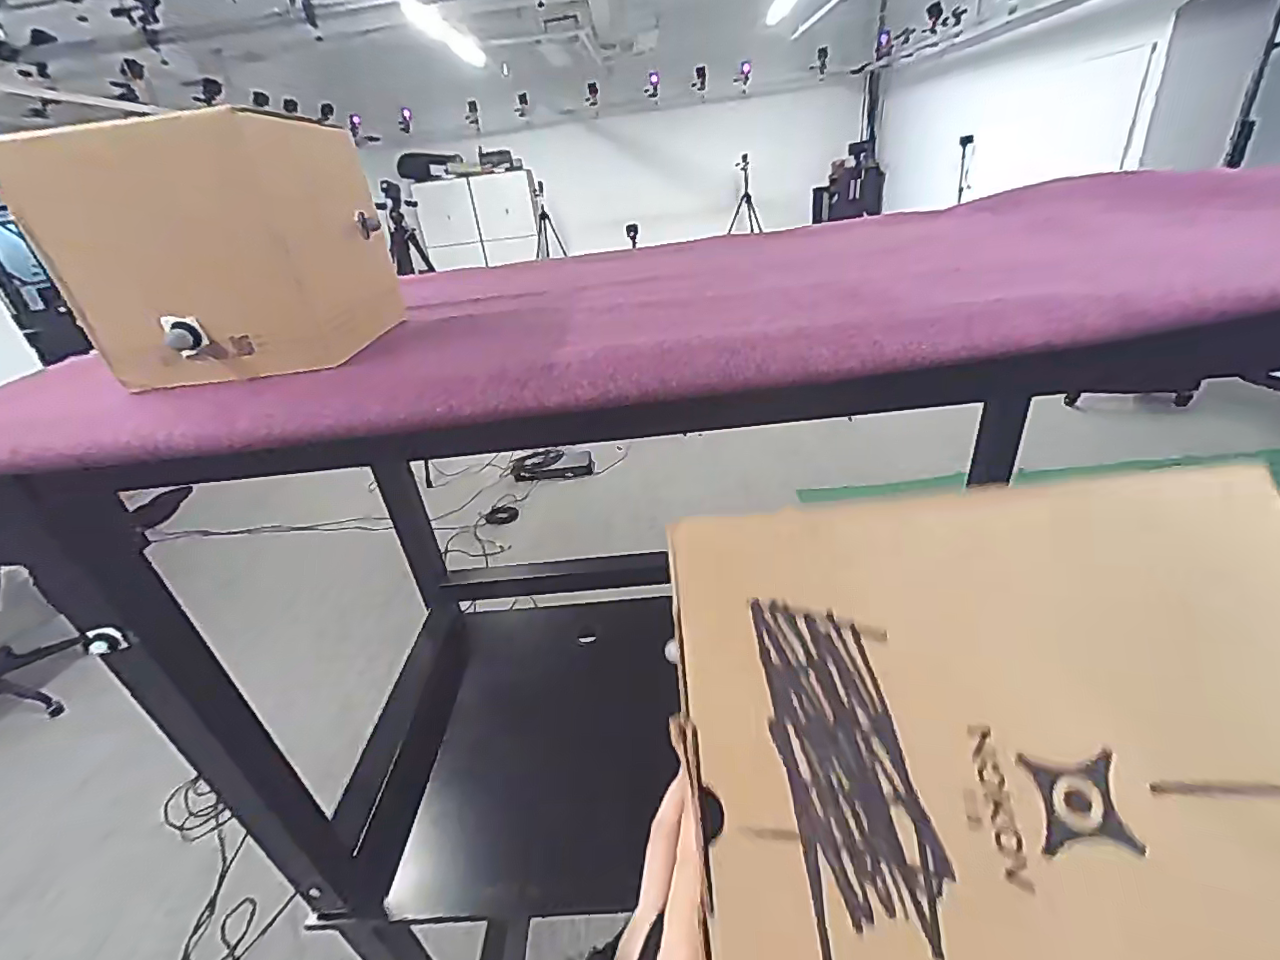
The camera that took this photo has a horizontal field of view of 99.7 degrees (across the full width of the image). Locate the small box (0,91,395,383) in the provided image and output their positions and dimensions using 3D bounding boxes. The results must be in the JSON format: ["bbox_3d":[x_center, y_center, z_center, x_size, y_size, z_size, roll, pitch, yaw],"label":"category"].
[{"bbox_3d":[-0.322,-0.190,0.435,0.168,0.176,0.179,-9,30,1],"label":"small box"}]

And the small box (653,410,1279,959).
[{"bbox_3d":[0.106,0.093,0.203,0.179,0.176,0.168,-6,69,5],"label":"small box"}]
